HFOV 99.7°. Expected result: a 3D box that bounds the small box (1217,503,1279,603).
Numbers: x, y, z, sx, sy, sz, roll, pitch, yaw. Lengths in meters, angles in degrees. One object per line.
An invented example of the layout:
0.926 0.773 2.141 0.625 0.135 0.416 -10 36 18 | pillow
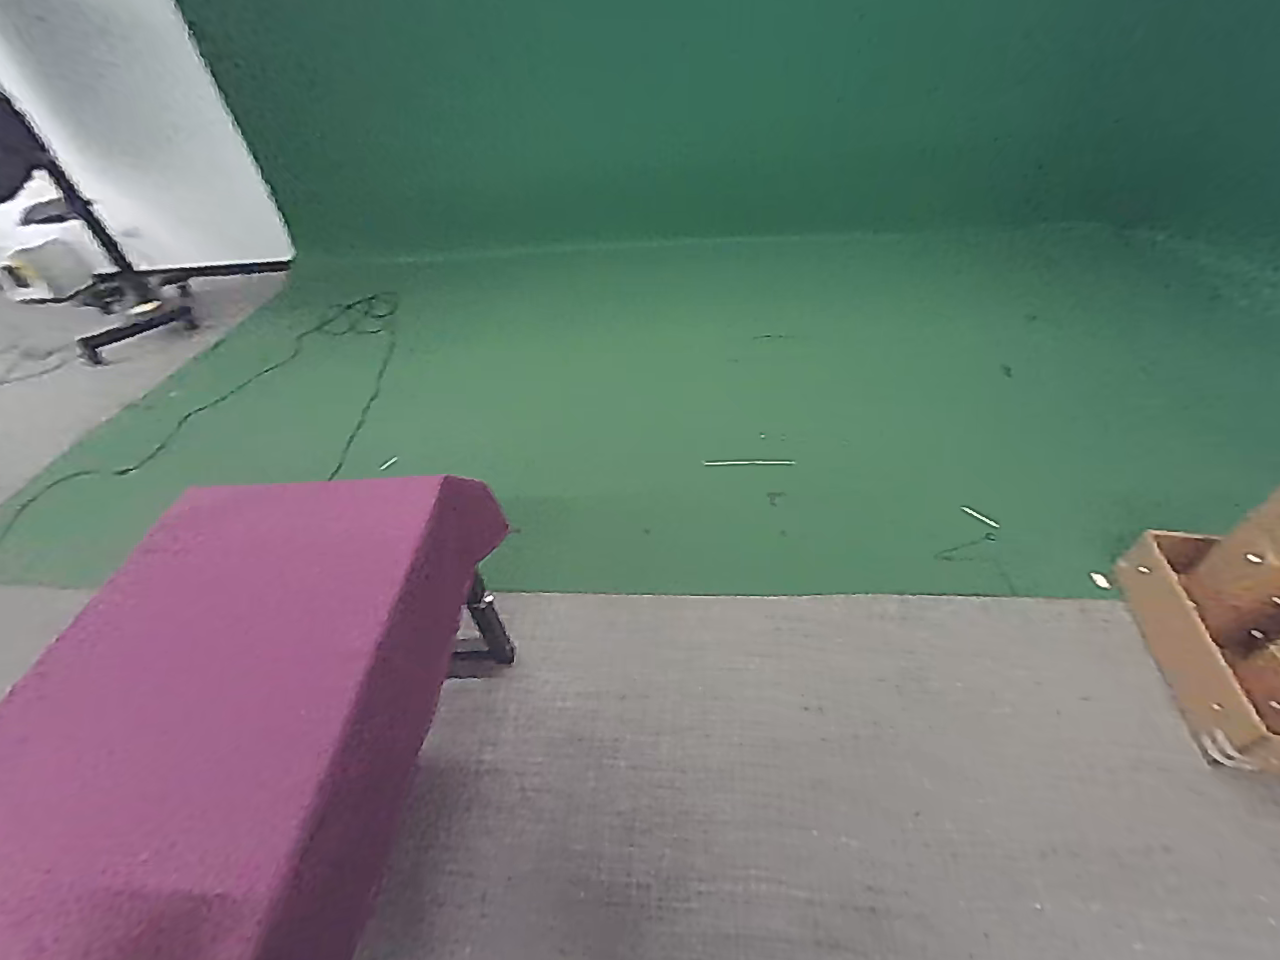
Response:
1.605 0.190 1.343 0.168 0.176 0.179 12 50 20 | small box
